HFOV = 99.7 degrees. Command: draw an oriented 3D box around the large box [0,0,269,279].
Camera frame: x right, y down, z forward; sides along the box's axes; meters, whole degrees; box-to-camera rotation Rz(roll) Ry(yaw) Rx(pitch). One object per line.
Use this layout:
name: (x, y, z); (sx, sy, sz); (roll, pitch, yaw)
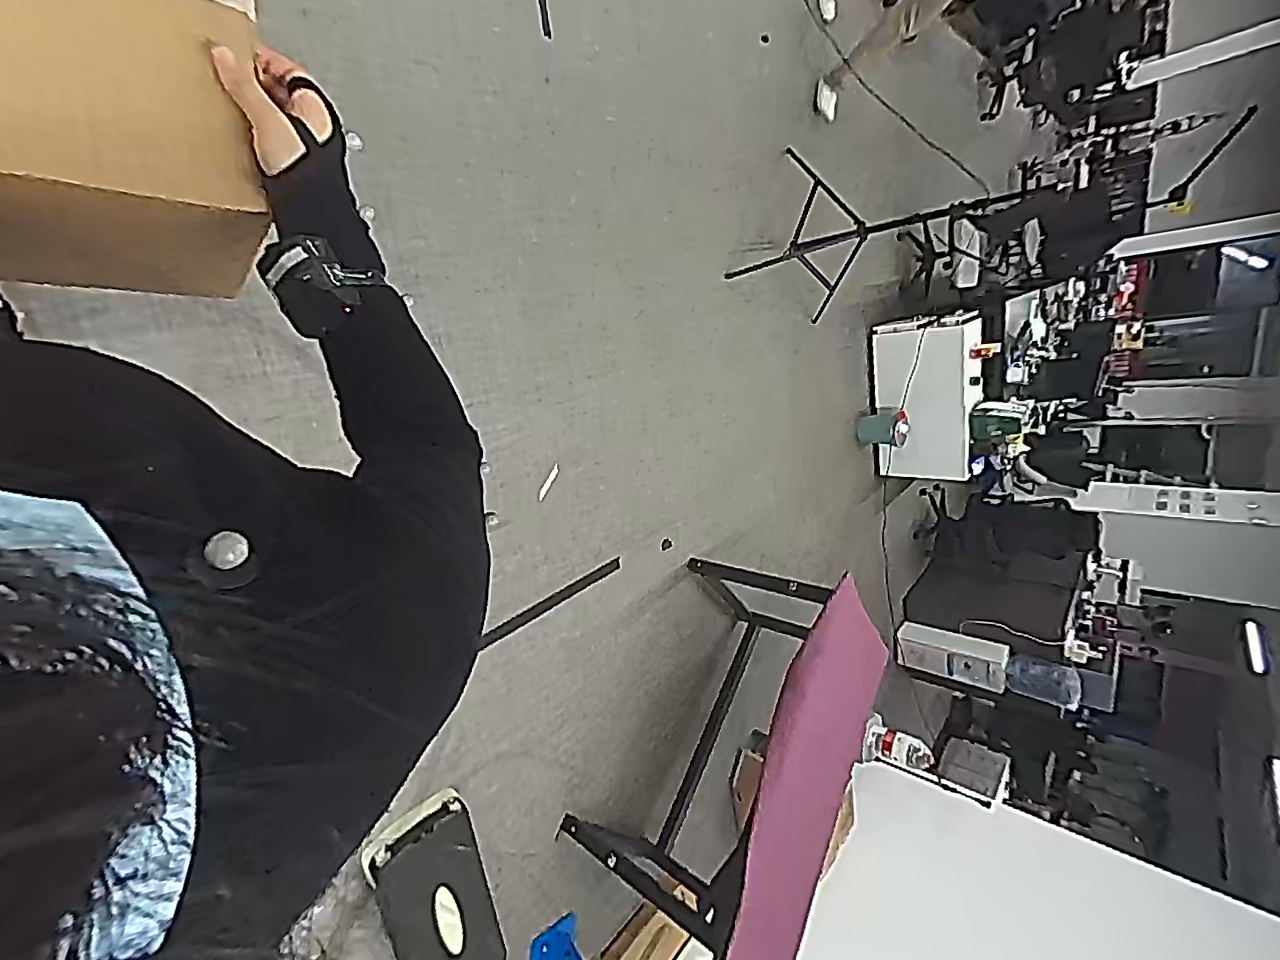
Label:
large box: (-0.555, -0.357, 0.403); (0.408, 0.320, 0.320); (-9, 98, -40)
